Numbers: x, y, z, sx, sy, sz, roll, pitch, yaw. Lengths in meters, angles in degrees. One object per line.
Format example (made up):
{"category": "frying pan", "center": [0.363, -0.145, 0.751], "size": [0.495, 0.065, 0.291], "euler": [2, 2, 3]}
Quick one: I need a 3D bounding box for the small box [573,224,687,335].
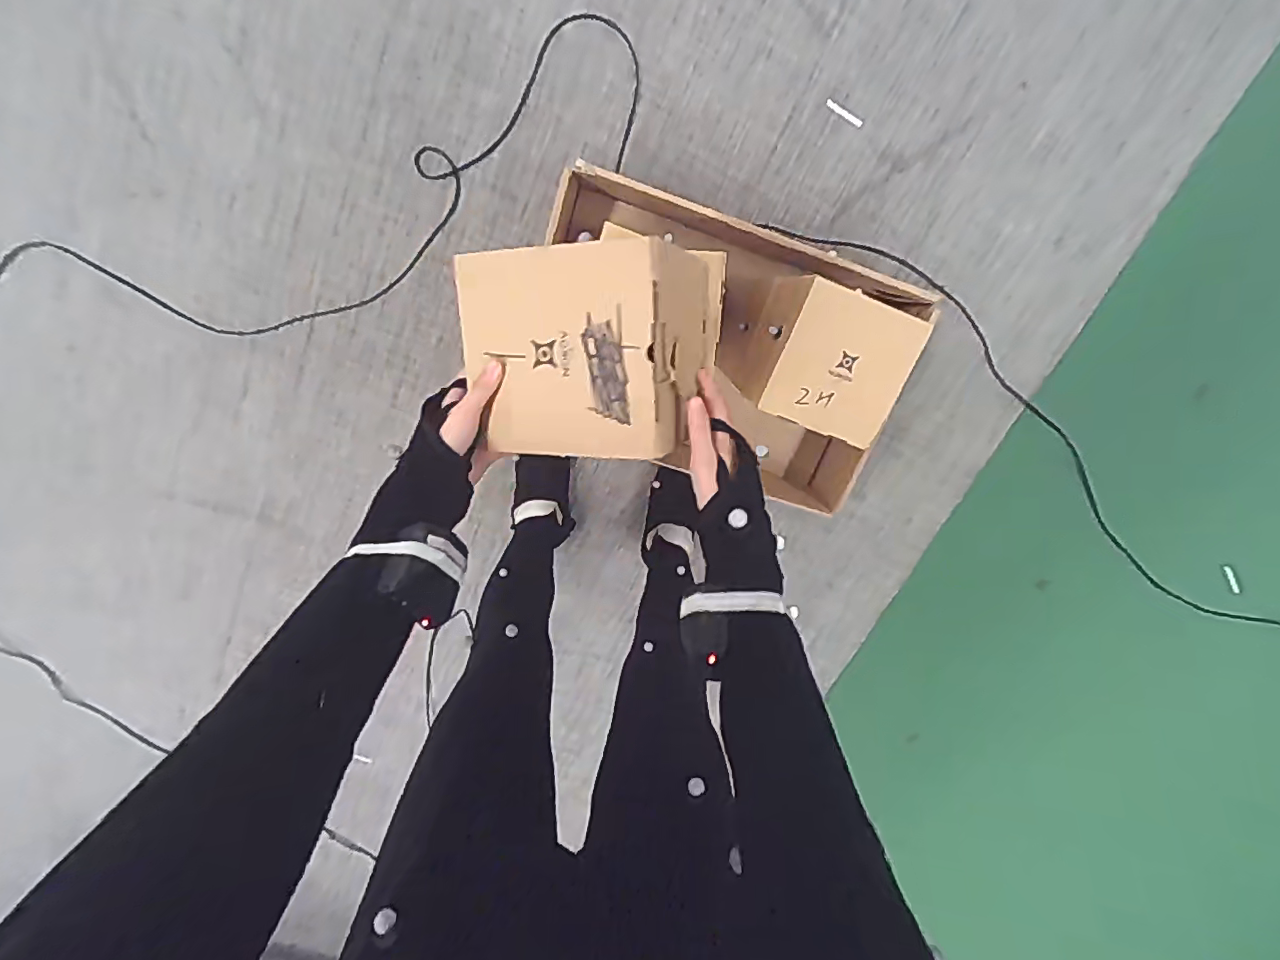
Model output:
{"category": "small box", "center": [0.003, -0.295, 0.880], "size": [0.179, 0.176, 0.168], "euler": [18, 110, -9]}

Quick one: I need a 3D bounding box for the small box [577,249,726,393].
{"category": "small box", "center": [0.008, -0.220, 0.735], "size": [0.179, 0.176, 0.168], "euler": [2, 111, -2]}

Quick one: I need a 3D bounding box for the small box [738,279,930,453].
{"category": "small box", "center": [0.252, -0.165, 0.756], "size": [0.168, 0.176, 0.179], "euler": [20, 109, -7]}
